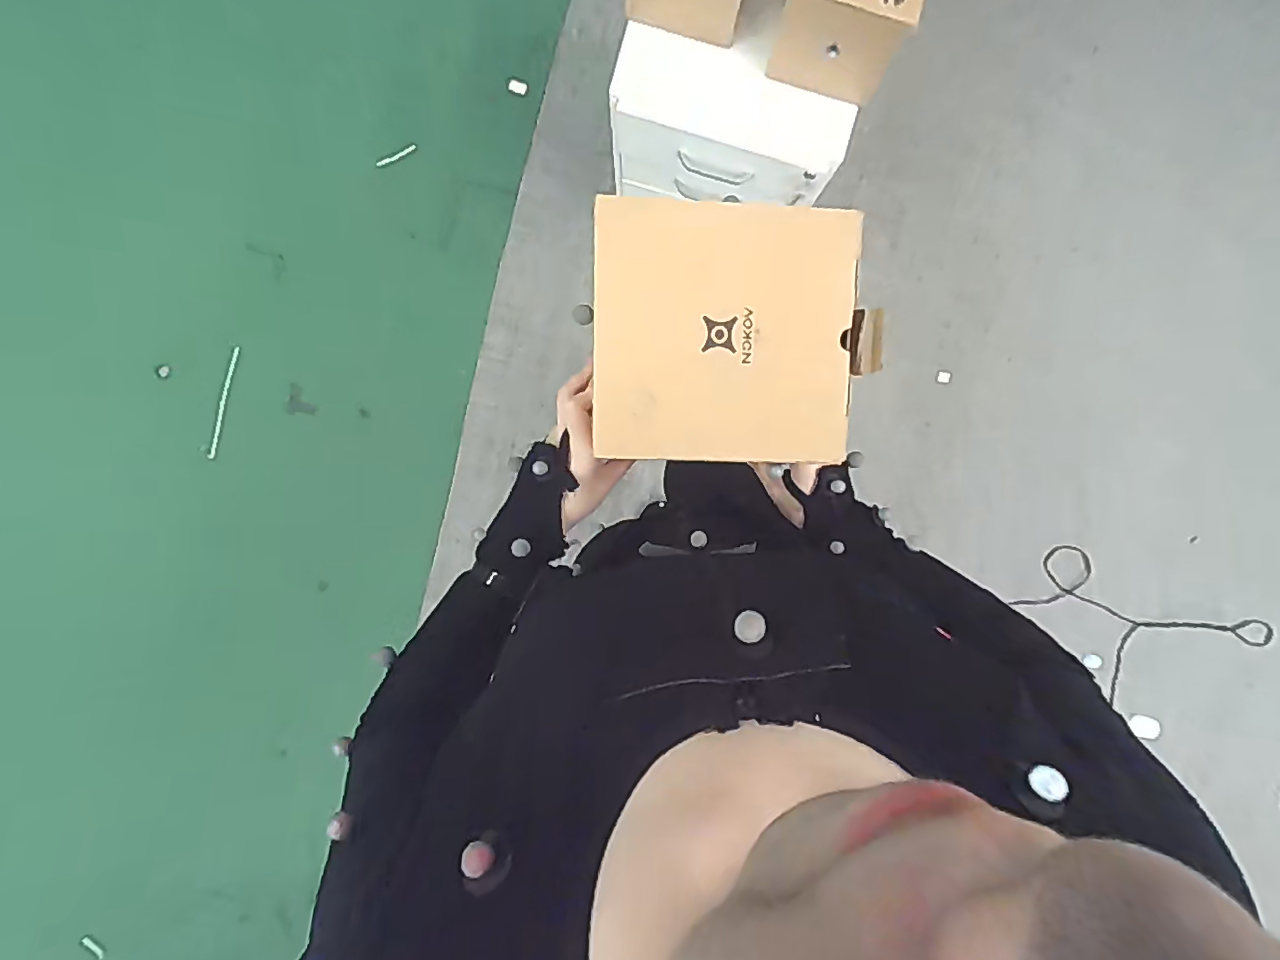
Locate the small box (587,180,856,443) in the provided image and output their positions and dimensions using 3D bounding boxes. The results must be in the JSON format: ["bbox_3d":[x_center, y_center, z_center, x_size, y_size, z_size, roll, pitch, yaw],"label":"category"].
[{"bbox_3d":[0.047,-0.114,0.433,0.179,0.176,0.168,0,96,-6],"label":"small box"}]

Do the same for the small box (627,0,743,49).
[{"bbox_3d":[0.081,-0.787,0.793,0.179,0.176,0.168,15,91,-2],"label":"small box"}]
